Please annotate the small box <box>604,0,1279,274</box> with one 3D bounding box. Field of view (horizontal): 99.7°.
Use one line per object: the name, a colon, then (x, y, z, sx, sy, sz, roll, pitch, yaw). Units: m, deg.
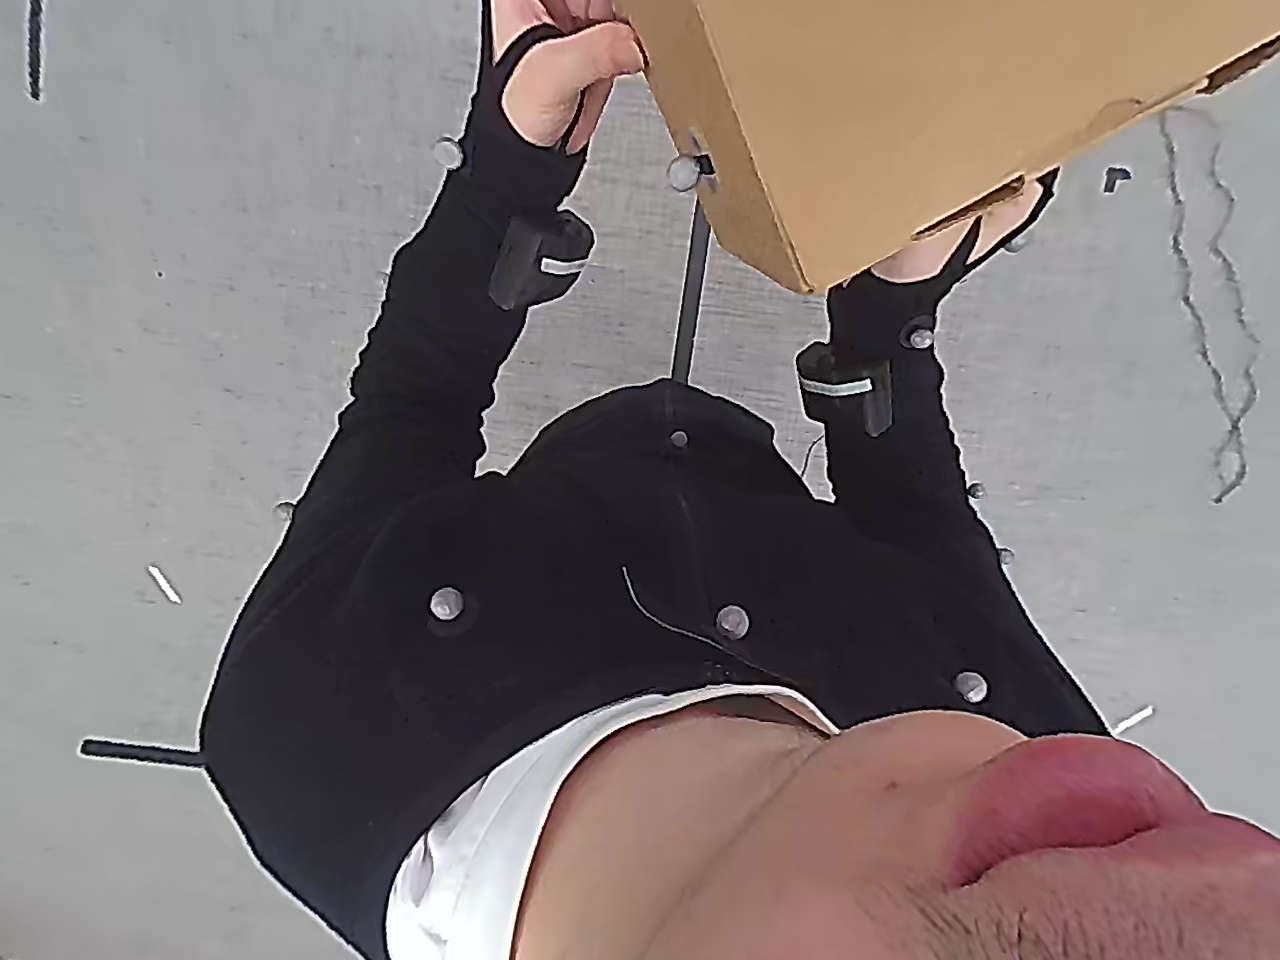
small box: (0.073, -0.200, 0.184, 0.168, 0.176, 0.179, -27, 115, 11)
